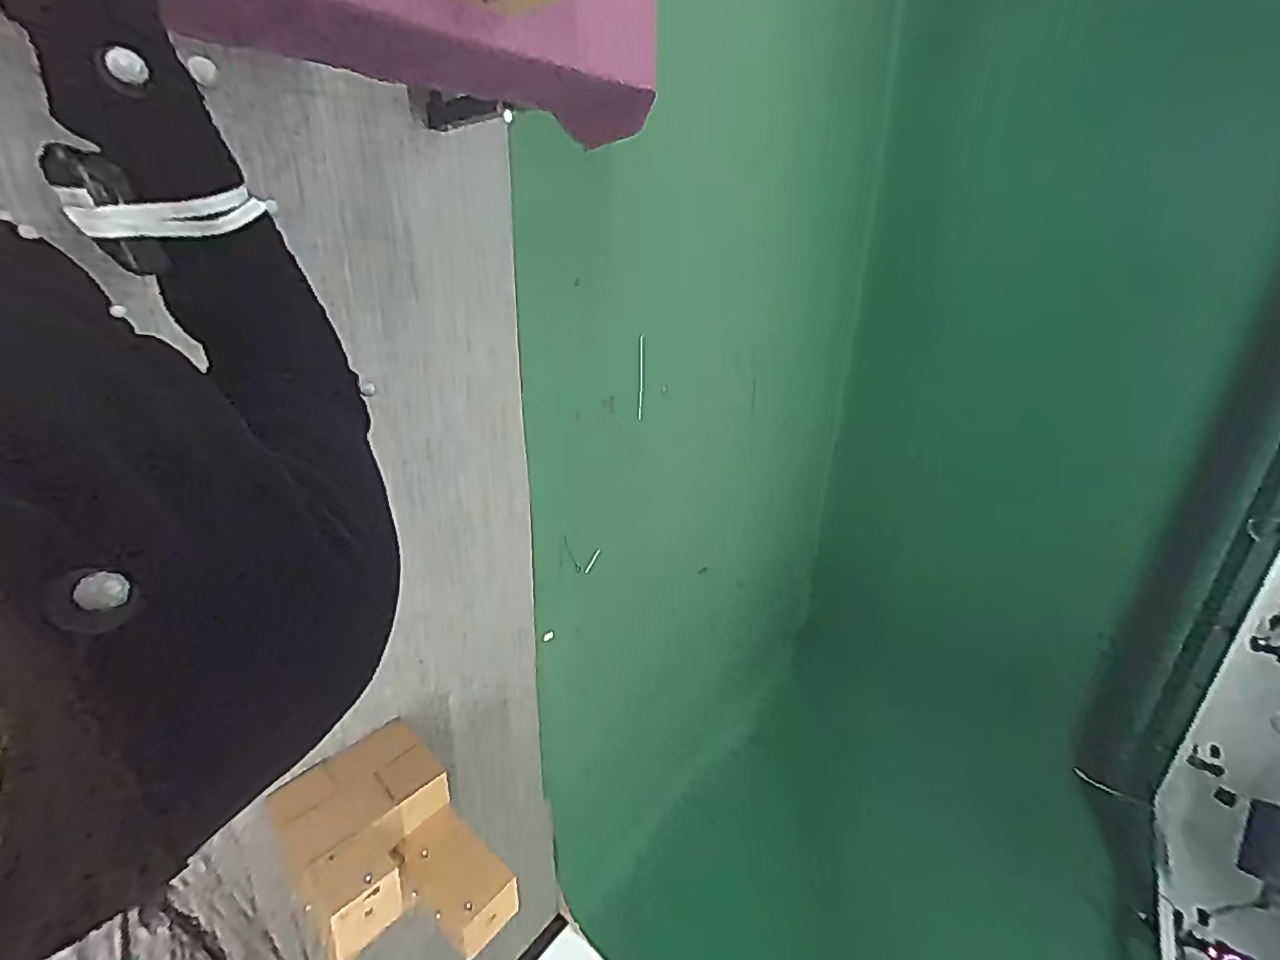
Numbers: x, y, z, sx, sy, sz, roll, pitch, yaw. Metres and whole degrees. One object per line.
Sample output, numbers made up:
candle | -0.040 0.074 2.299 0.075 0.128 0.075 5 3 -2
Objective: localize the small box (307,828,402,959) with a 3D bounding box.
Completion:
small box | -0.740 1.063 1.404 0.168 0.176 0.179 -17 120 -47

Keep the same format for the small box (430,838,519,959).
small box | -0.469 1.180 1.539 0.179 0.176 0.168 -24 125 -45

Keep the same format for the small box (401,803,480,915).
small box | -0.598 1.133 1.627 0.179 0.176 0.168 -26 127 -45
